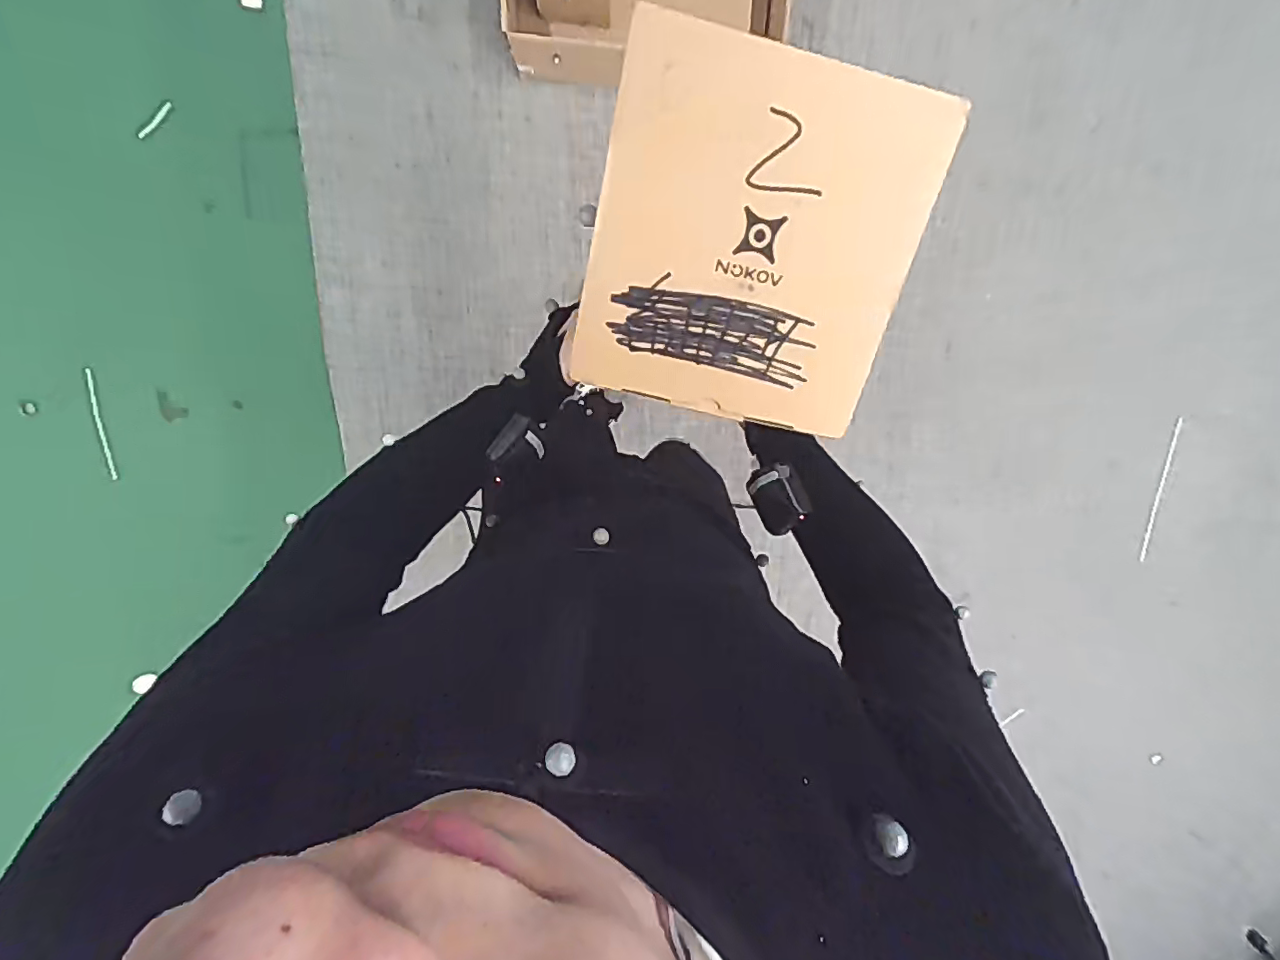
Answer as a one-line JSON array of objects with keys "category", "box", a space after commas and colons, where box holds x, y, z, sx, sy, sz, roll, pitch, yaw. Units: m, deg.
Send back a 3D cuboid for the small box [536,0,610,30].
[{"category": "small box", "box": [-0.142, -1.117, 1.153, 0.168, 0.176, 0.179, 4, 105, -5]}]
